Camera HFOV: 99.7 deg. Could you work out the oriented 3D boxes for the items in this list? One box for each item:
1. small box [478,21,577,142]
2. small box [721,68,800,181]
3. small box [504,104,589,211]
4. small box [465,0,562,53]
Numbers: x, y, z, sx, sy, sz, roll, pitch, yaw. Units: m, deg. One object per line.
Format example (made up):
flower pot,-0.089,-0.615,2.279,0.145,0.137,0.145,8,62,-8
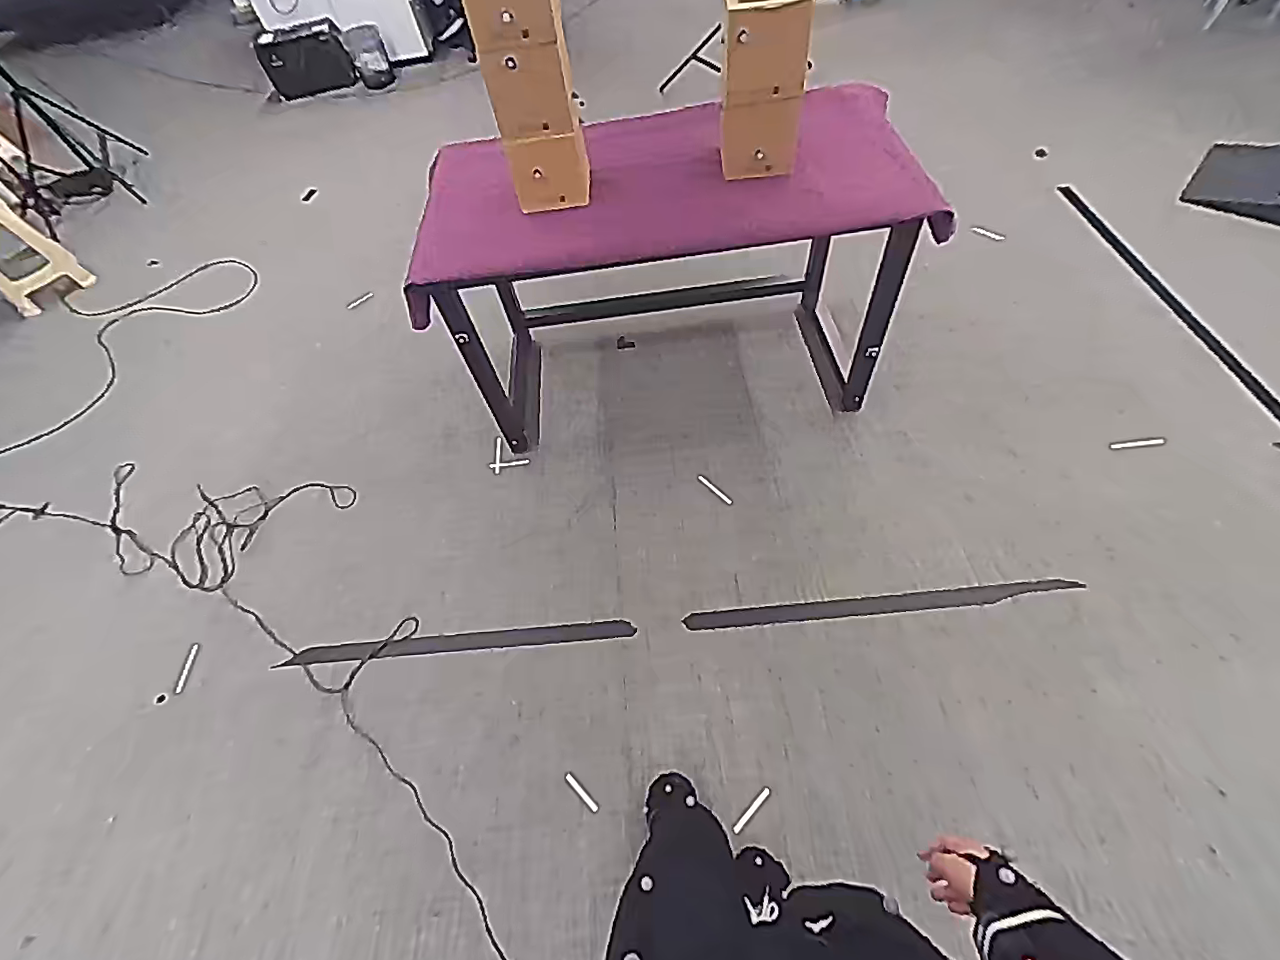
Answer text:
small box,-0.237,-0.872,1.182,0.168,0.176,0.179,-6,55,4
small box,0.280,-0.848,1.294,0.168,0.176,0.179,-2,57,7
small box,-0.218,-0.777,1.315,0.168,0.176,0.179,-6,56,4
small box,-0.250,-0.961,1.044,0.168,0.176,0.179,-6,57,4
